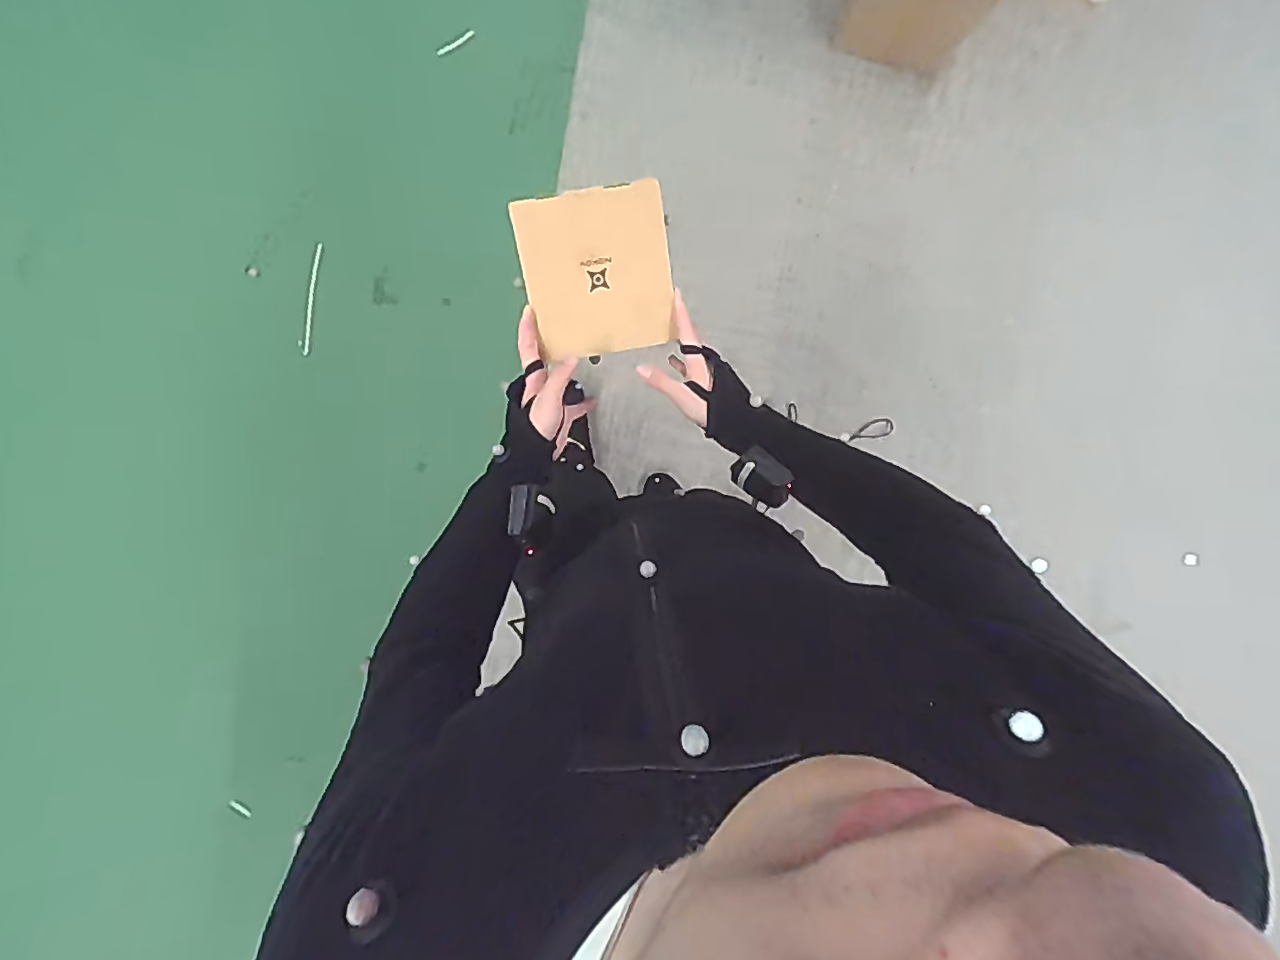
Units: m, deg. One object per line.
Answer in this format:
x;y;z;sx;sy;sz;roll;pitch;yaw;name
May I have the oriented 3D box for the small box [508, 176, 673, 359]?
-0.054;-0.259;0.682;0.168;0.176;0.179;-9;107;-1;small box
